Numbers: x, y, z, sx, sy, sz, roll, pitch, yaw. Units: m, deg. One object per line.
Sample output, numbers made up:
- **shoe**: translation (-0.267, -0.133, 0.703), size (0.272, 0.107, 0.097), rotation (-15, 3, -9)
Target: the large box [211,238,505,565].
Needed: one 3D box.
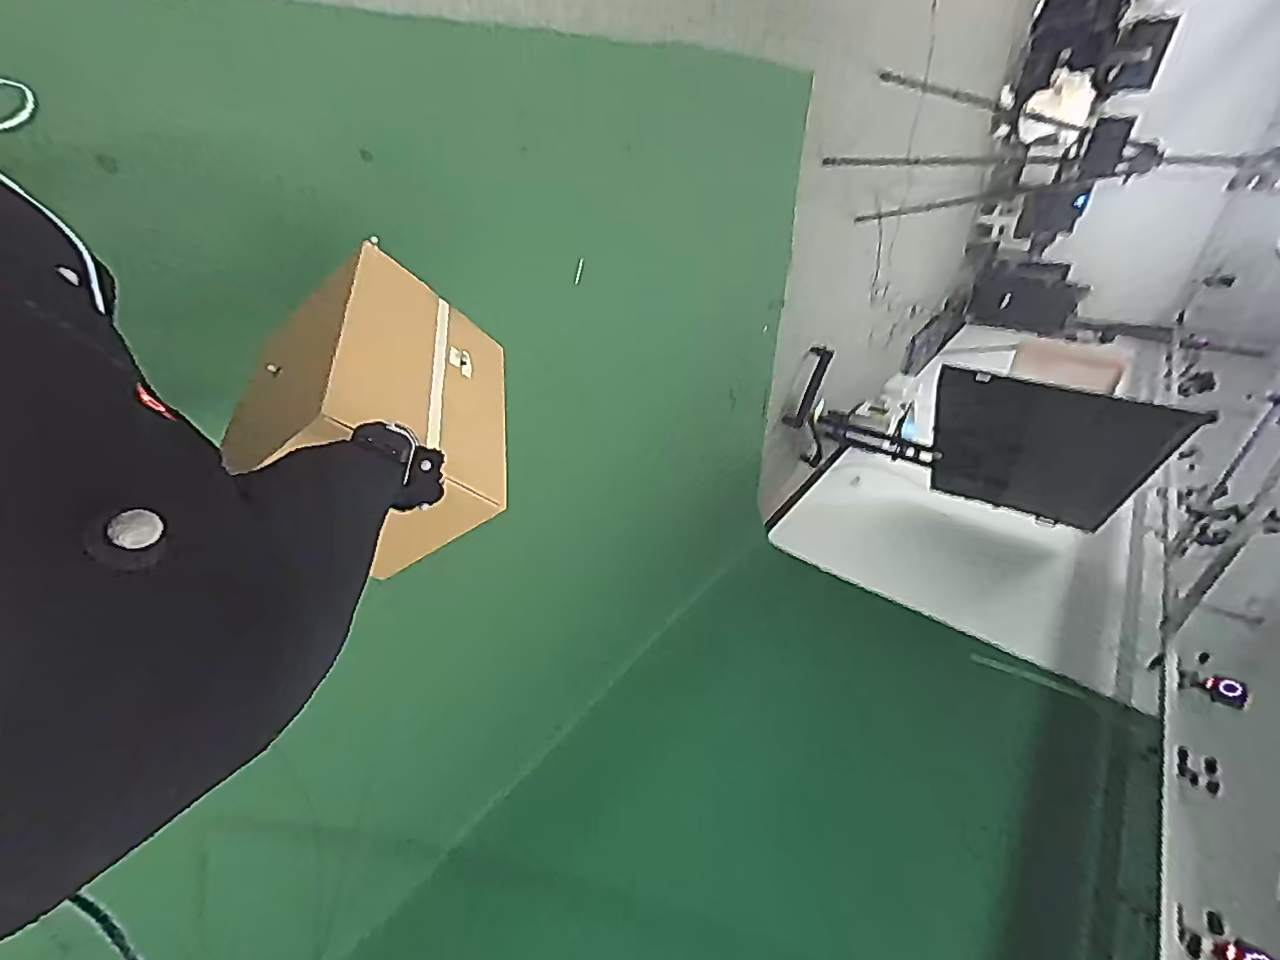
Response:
- **large box**: translation (-0.467, -0.118, 0.953), size (0.320, 0.408, 0.320), rotation (-29, 142, 21)
